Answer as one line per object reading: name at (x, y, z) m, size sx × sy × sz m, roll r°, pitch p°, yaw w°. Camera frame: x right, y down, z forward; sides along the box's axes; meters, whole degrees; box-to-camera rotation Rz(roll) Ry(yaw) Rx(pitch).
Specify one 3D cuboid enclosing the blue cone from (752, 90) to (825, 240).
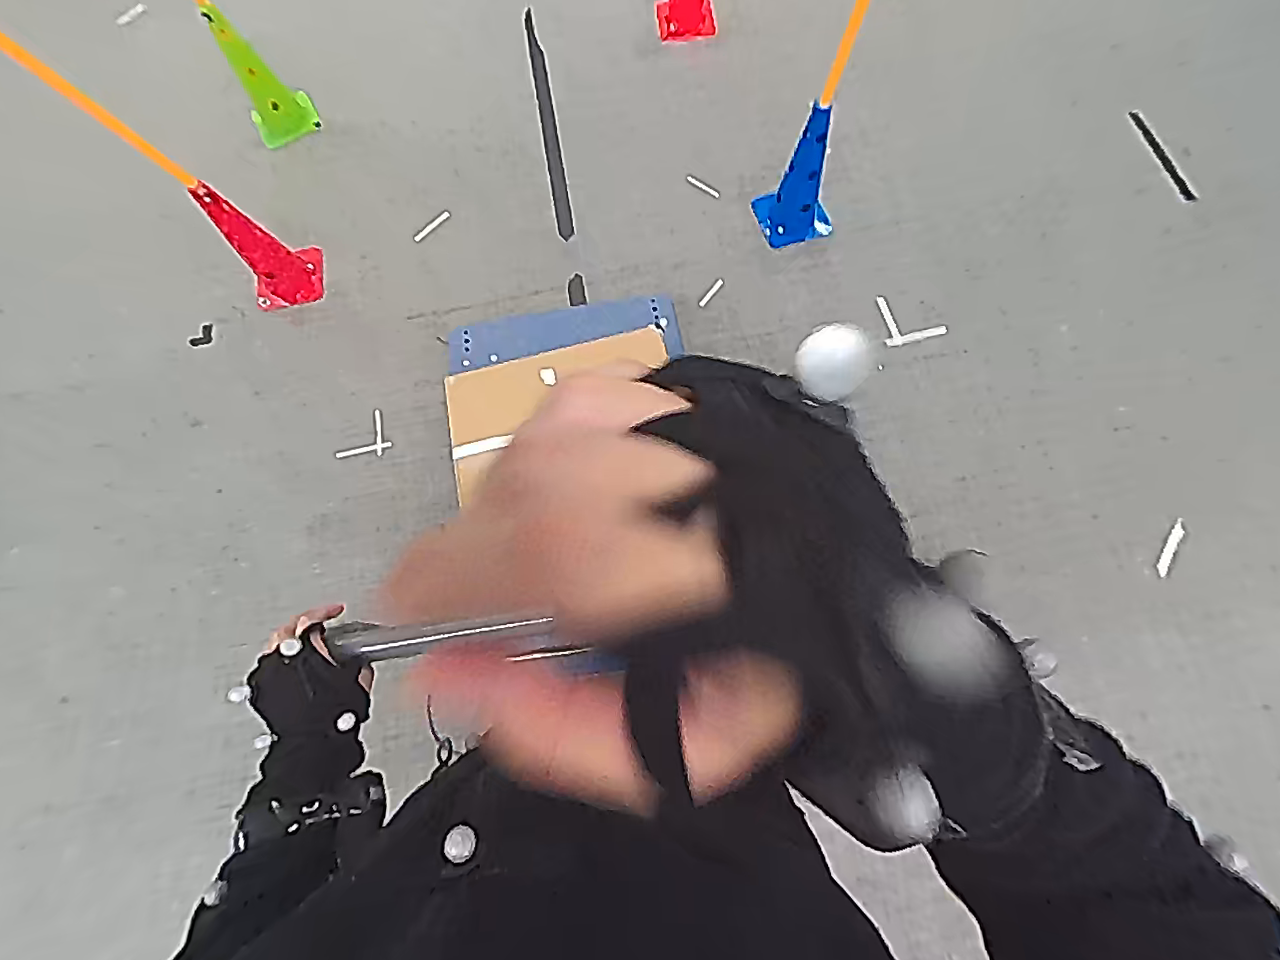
blue cone at (0.446, -0.867, 1.486) m, size 0.193 × 0.380 × 0.192 m, roll -15°, pitch 71°, yaw -3°

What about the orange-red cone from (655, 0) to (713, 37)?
orange-red cone at (0.148, -1.689, 1.741) m, size 0.199 × 0.360 × 0.198 m, roll -5°, pitch 73°, yaw 0°
